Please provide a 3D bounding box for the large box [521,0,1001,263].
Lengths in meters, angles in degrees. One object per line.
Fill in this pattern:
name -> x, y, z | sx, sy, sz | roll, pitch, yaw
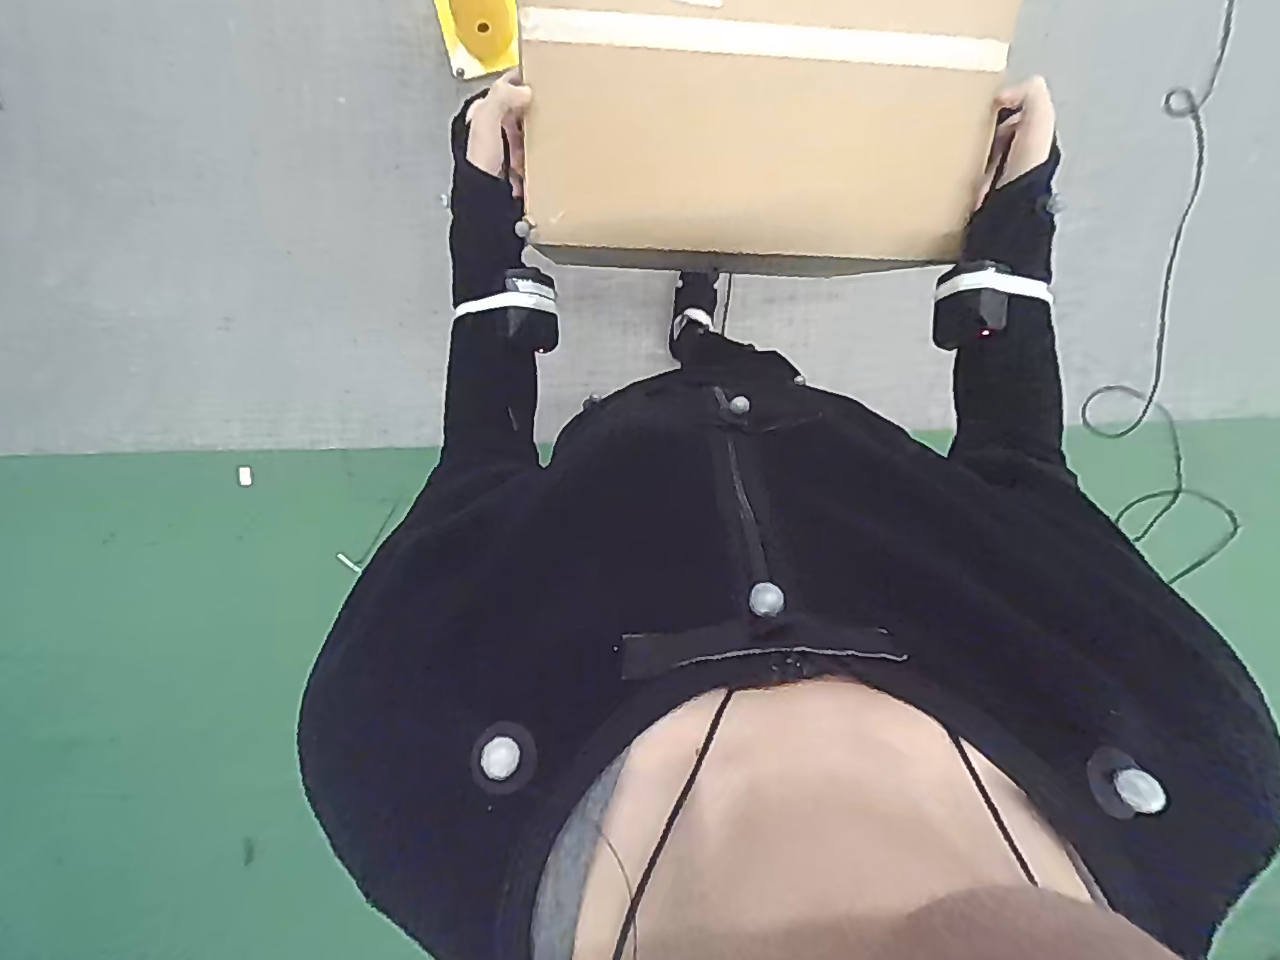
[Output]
large box -> 0.094, -0.410, 0.592 | 0.408, 0.320, 0.320 | 0, 108, -4
